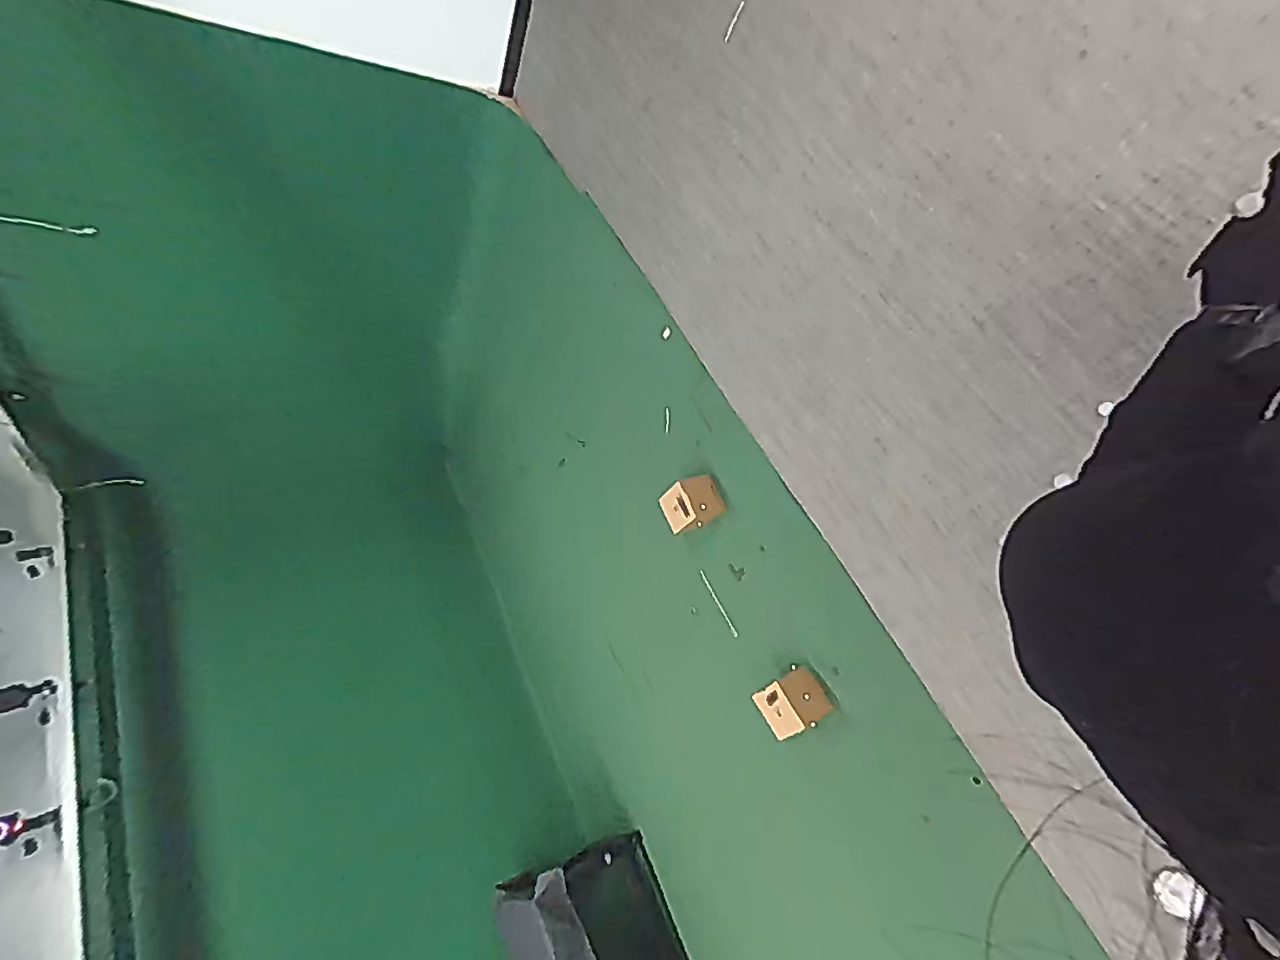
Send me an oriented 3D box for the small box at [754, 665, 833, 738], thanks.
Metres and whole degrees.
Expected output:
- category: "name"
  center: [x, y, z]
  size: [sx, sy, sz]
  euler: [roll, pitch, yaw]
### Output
- category: "small box"
  center: [0.558, 0.794, 1.959]
  size: [0.179, 0.176, 0.168]
  euler: [58, 140, 24]
